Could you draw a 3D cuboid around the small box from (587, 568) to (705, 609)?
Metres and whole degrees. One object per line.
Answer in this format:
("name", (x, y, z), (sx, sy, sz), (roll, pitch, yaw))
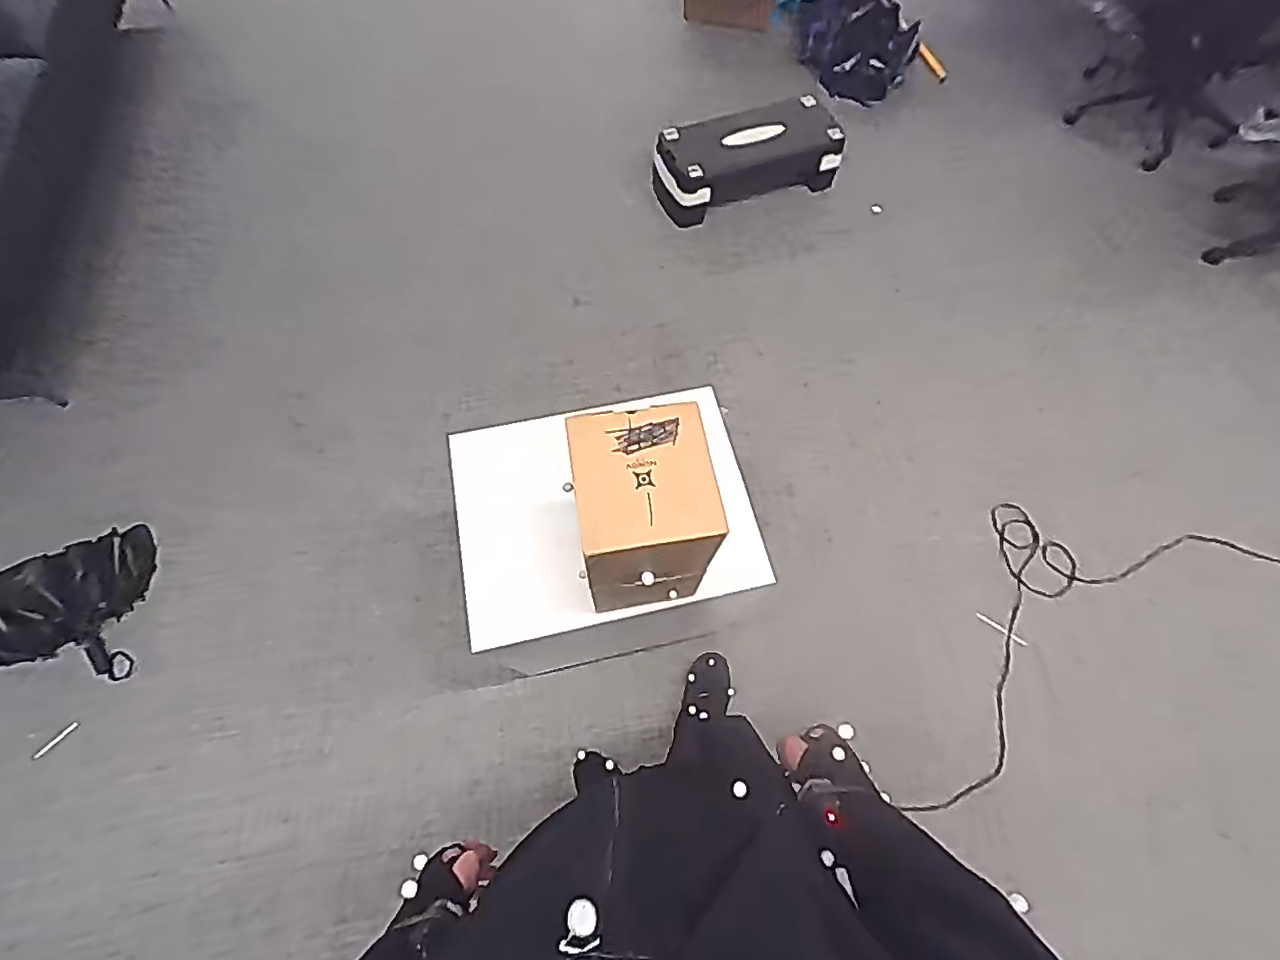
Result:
("small box", (-0.003, 0.096, 0.849), (0.168, 0.176, 0.179), (-8, 65, -6))

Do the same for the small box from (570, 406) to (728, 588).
("small box", (0.003, 0.028, 0.700), (0.168, 0.176, 0.179), (-8, 67, -5))
